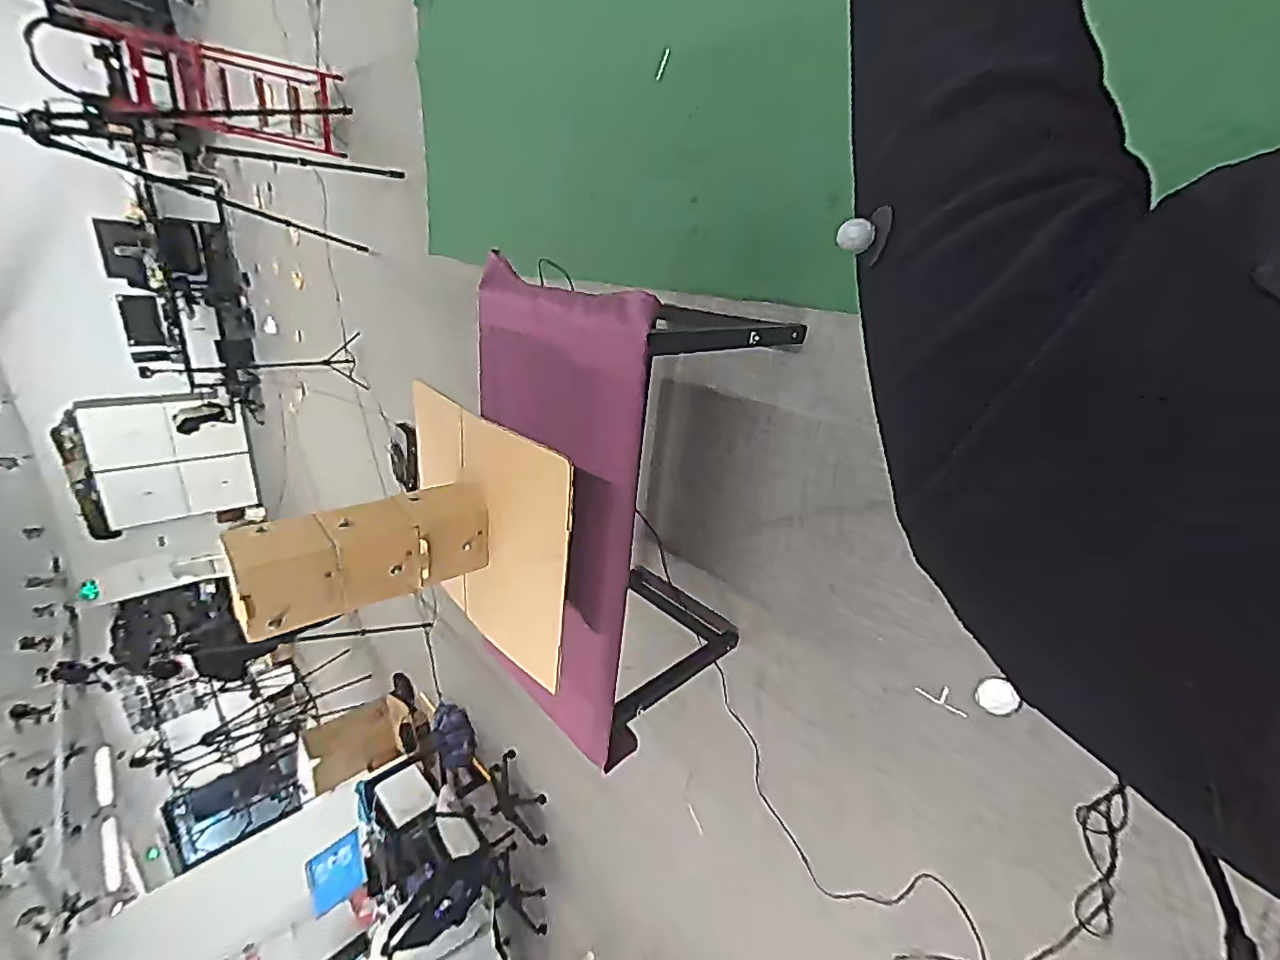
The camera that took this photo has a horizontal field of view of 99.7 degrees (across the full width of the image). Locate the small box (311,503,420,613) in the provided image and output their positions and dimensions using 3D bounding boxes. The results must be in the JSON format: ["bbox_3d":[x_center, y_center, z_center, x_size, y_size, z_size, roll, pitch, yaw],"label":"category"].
[{"bbox_3d":[-0.608,0.162,1.204,0.179,0.176,0.168,26,120,40],"label":"small box"}]

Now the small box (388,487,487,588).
[{"bbox_3d":[-0.489,0.128,1.311,0.179,0.176,0.168,28,122,39],"label":"small box"}]
